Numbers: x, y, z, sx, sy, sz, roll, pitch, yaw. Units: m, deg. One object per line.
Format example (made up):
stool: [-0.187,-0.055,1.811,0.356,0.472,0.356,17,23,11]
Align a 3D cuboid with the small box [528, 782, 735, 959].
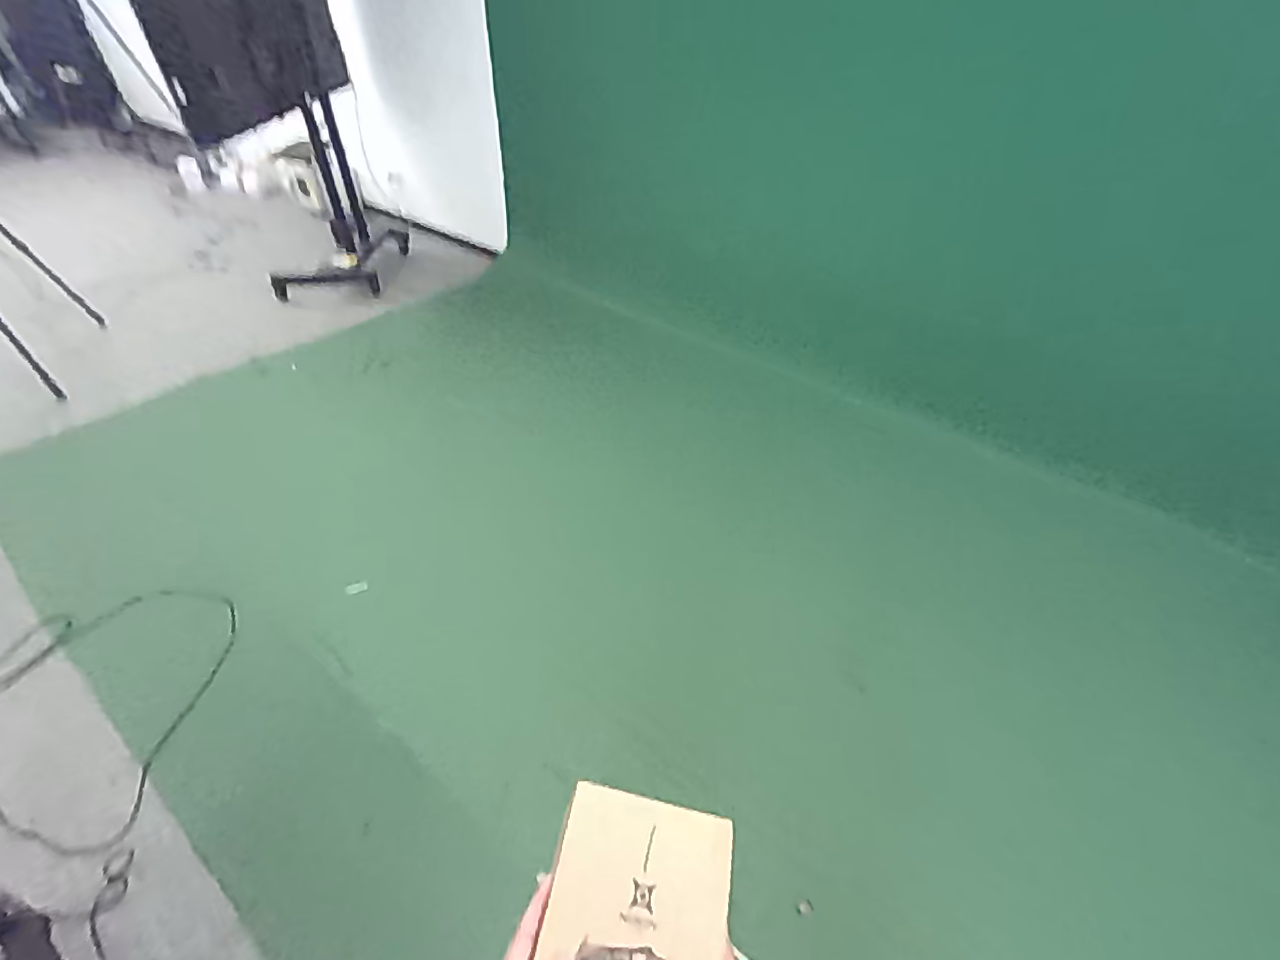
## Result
small box: [-0.014,0.436,0.538,0.168,0.176,0.179,15,46,0]
